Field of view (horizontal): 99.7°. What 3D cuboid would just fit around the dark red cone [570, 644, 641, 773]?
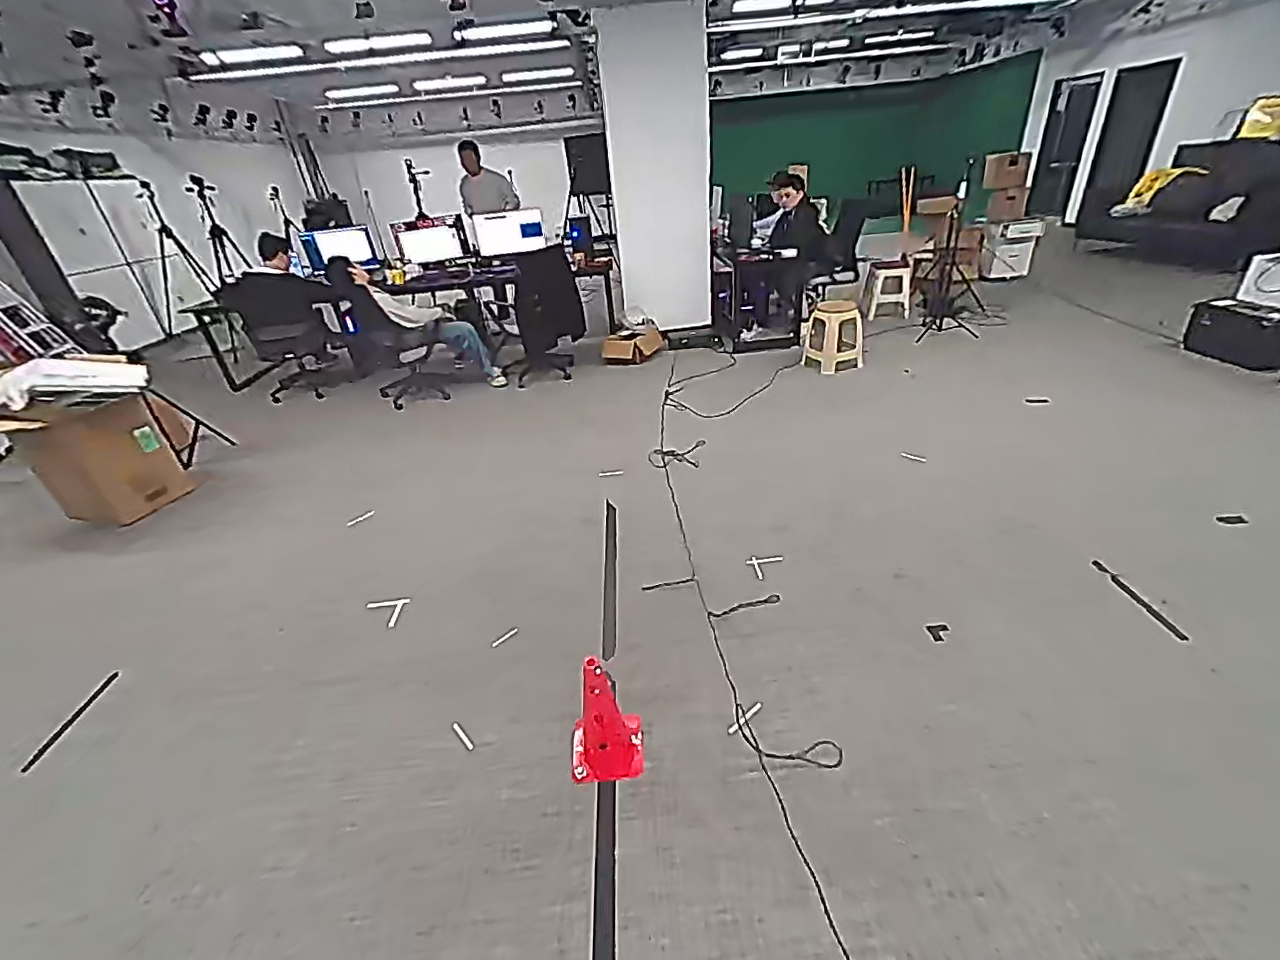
[{"bbox_3d":[-0.110,0.605,1.476,0.201,0.394,0.202,-5,29,-1],"label":"dark red cone"}]
